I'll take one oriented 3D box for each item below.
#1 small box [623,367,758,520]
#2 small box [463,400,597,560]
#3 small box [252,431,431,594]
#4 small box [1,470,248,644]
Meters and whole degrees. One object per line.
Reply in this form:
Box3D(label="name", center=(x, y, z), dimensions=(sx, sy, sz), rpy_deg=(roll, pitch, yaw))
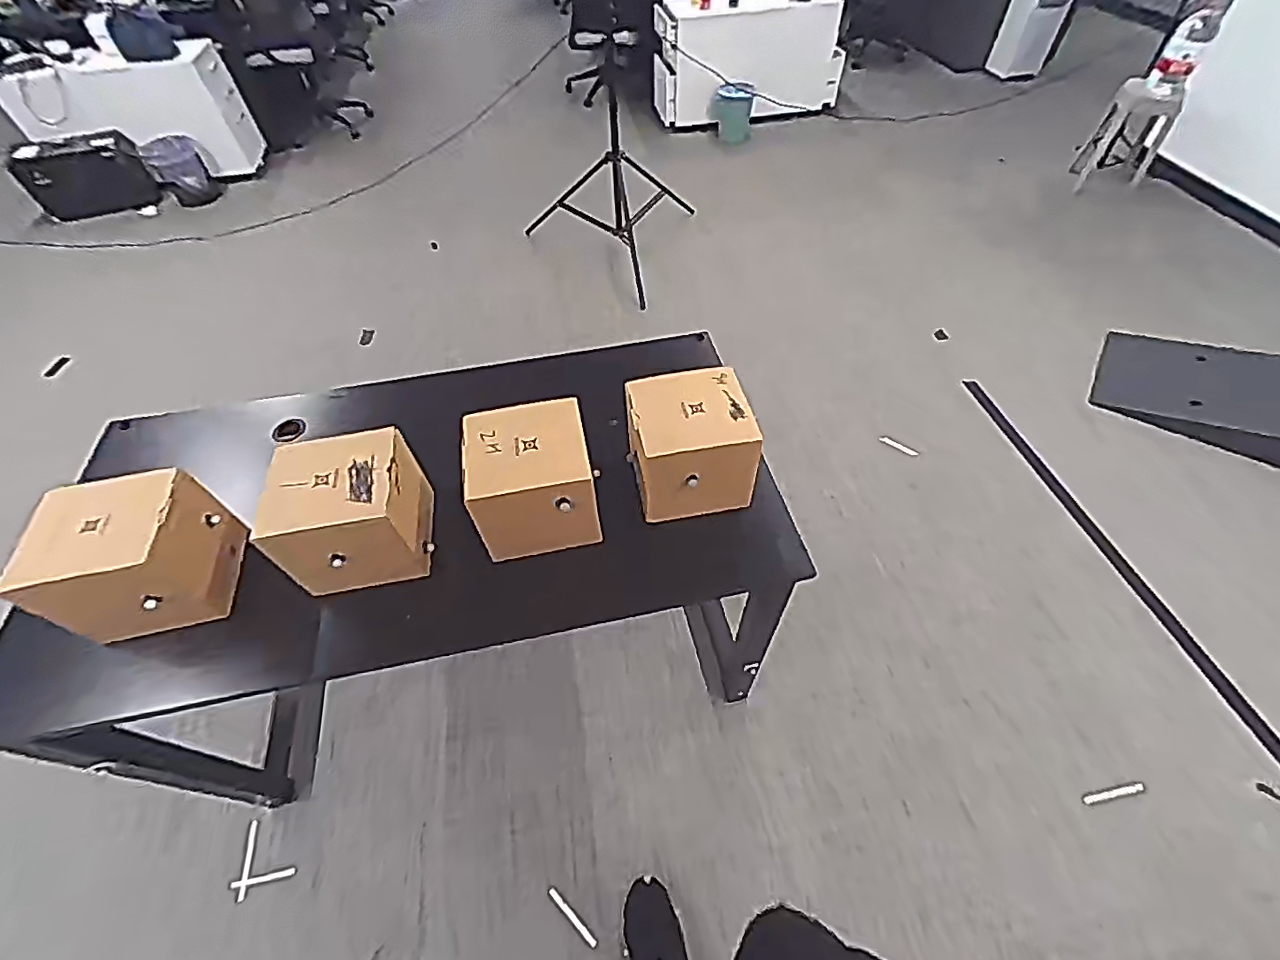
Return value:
Box3D(label="small box", center=(0.076, -0.053, 0.875), dimensions=(0.179, 0.176, 0.168), rpy_deg=(-11, 53, -4))
Box3D(label="small box", center=(-0.164, 0.003, 0.840), dimensions=(0.179, 0.176, 0.168), rpy_deg=(-11, 52, -7))
Box3D(label="small box", center=(-0.429, 0.052, 0.815), dimensions=(0.179, 0.176, 0.168), rpy_deg=(-10, 53, -5))
Box3D(label="small box", center=(-0.715, 0.114, 0.781), dimensions=(0.179, 0.176, 0.168), rpy_deg=(-13, 52, -7))
